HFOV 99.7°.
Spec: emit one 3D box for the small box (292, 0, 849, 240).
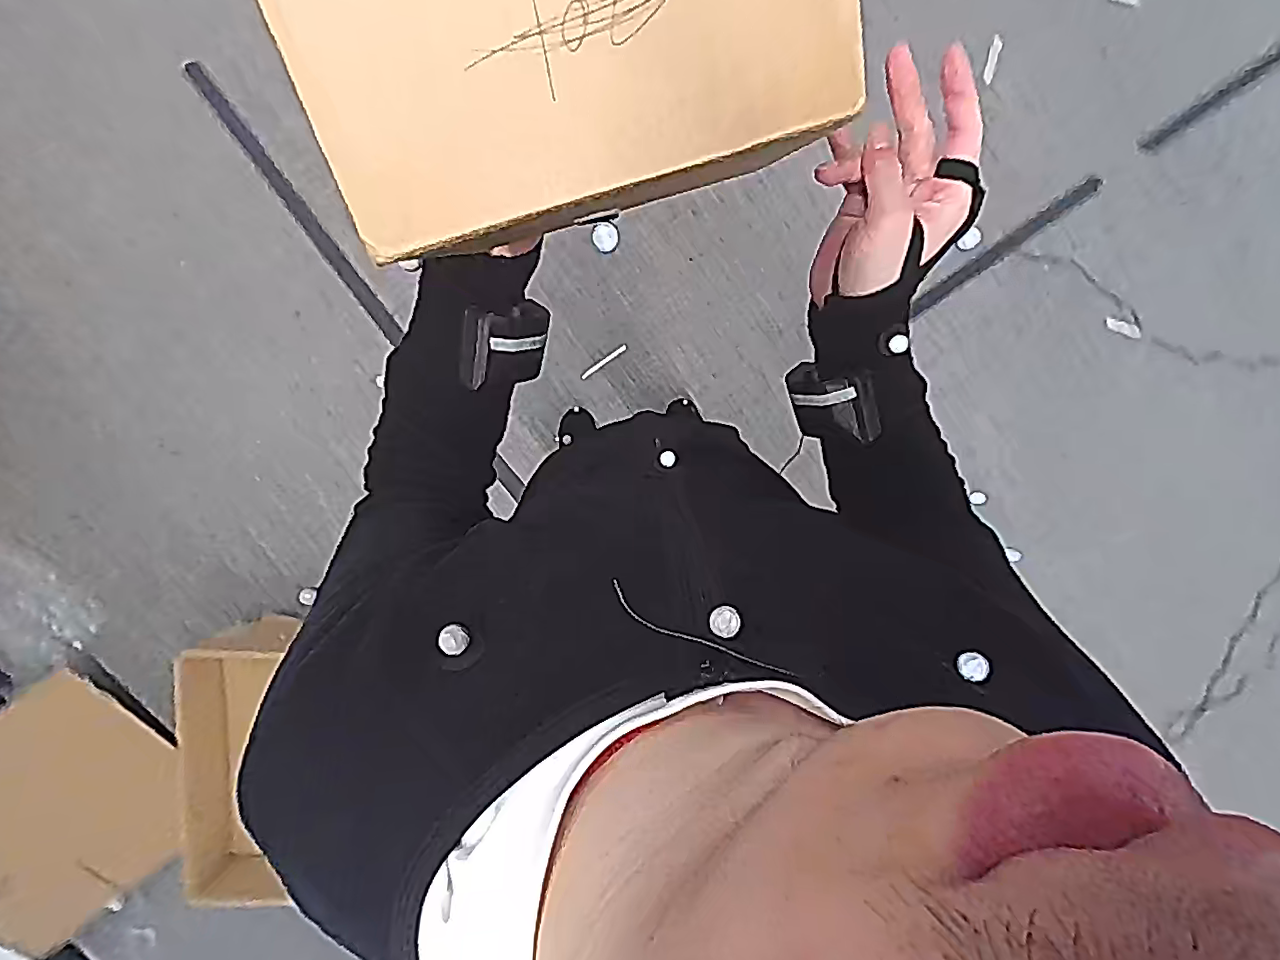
[{"bbox_3d":[-0.029,-0.210,0.224,0.168,0.176,0.179,-12,114,7],"label":"small box"}]
